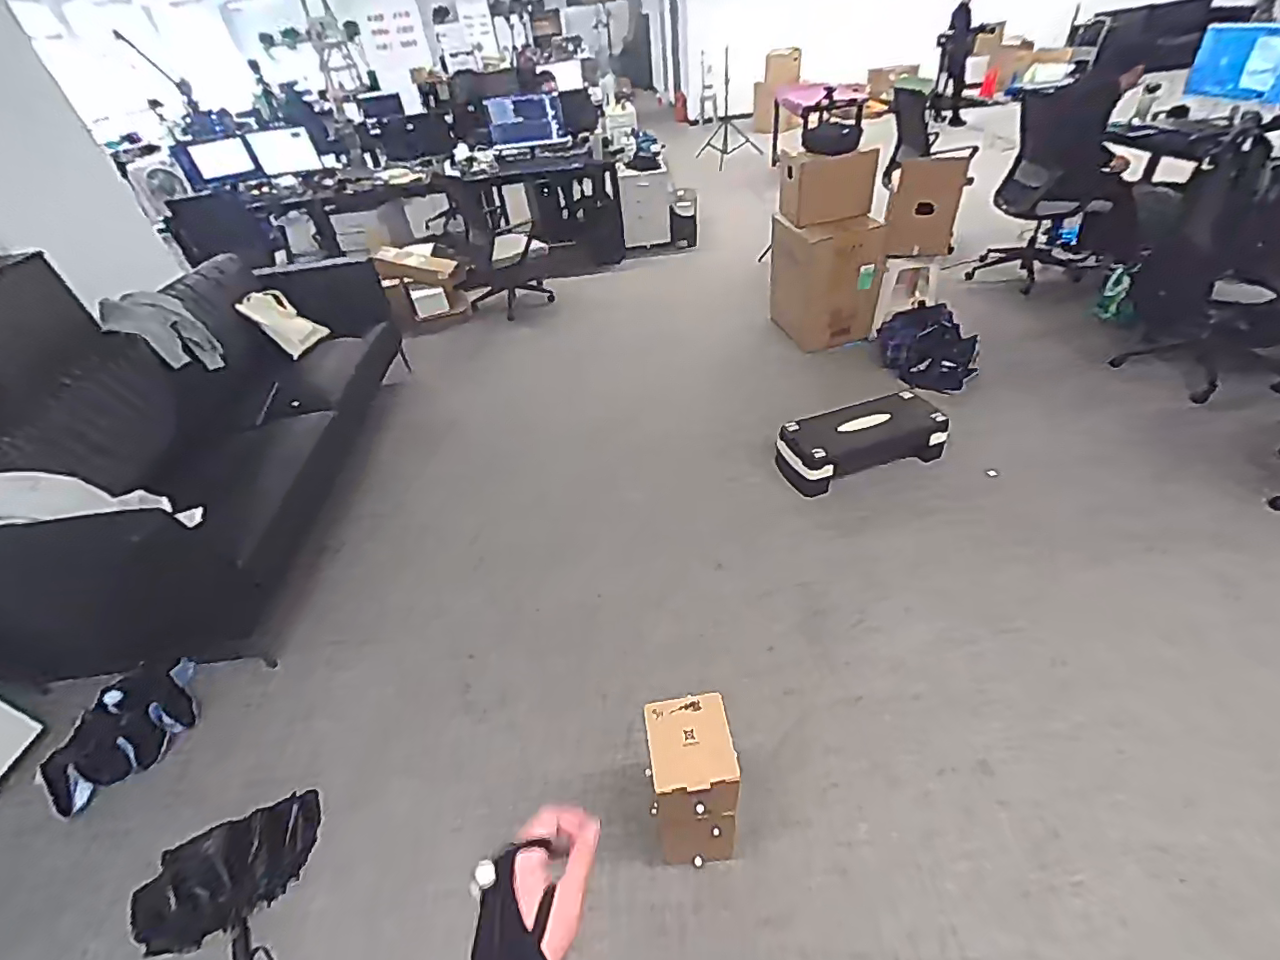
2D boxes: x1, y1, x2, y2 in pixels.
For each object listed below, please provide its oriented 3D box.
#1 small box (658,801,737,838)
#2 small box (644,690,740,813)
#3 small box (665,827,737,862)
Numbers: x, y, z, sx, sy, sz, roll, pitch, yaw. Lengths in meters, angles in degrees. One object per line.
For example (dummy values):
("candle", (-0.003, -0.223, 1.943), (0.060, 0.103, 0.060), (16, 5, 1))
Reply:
("small box", (0.122, 0.687, 1.225), (0.168, 0.176, 0.179), (-8, 40, -1))
("small box", (0.107, 0.565, 1.117), (0.168, 0.176, 0.179), (-9, 42, -2))
("small box", (0.140, 0.808, 1.331), (0.168, 0.176, 0.179), (-8, 41, 1))
